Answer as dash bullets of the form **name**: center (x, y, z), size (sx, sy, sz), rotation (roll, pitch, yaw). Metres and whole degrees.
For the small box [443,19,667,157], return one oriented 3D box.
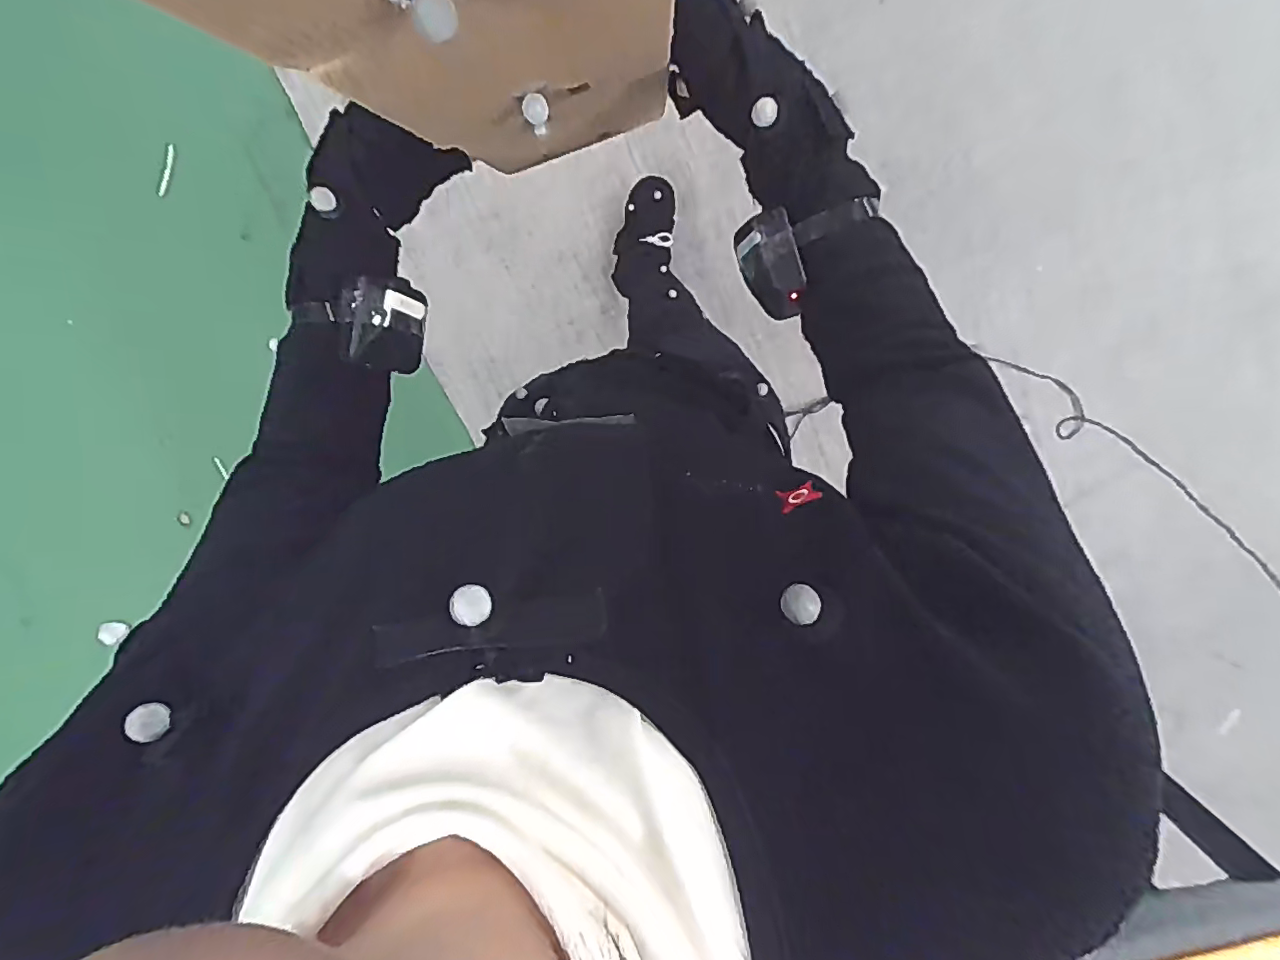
- **small box**: center (-0.082, -0.378, 0.411), size (0.168, 0.176, 0.179), rotation (-15, 111, 8)

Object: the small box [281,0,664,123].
- **small box**: center (-0.087, -0.311, 0.260), size (0.168, 0.176, 0.179), rotation (-15, 111, 8)
